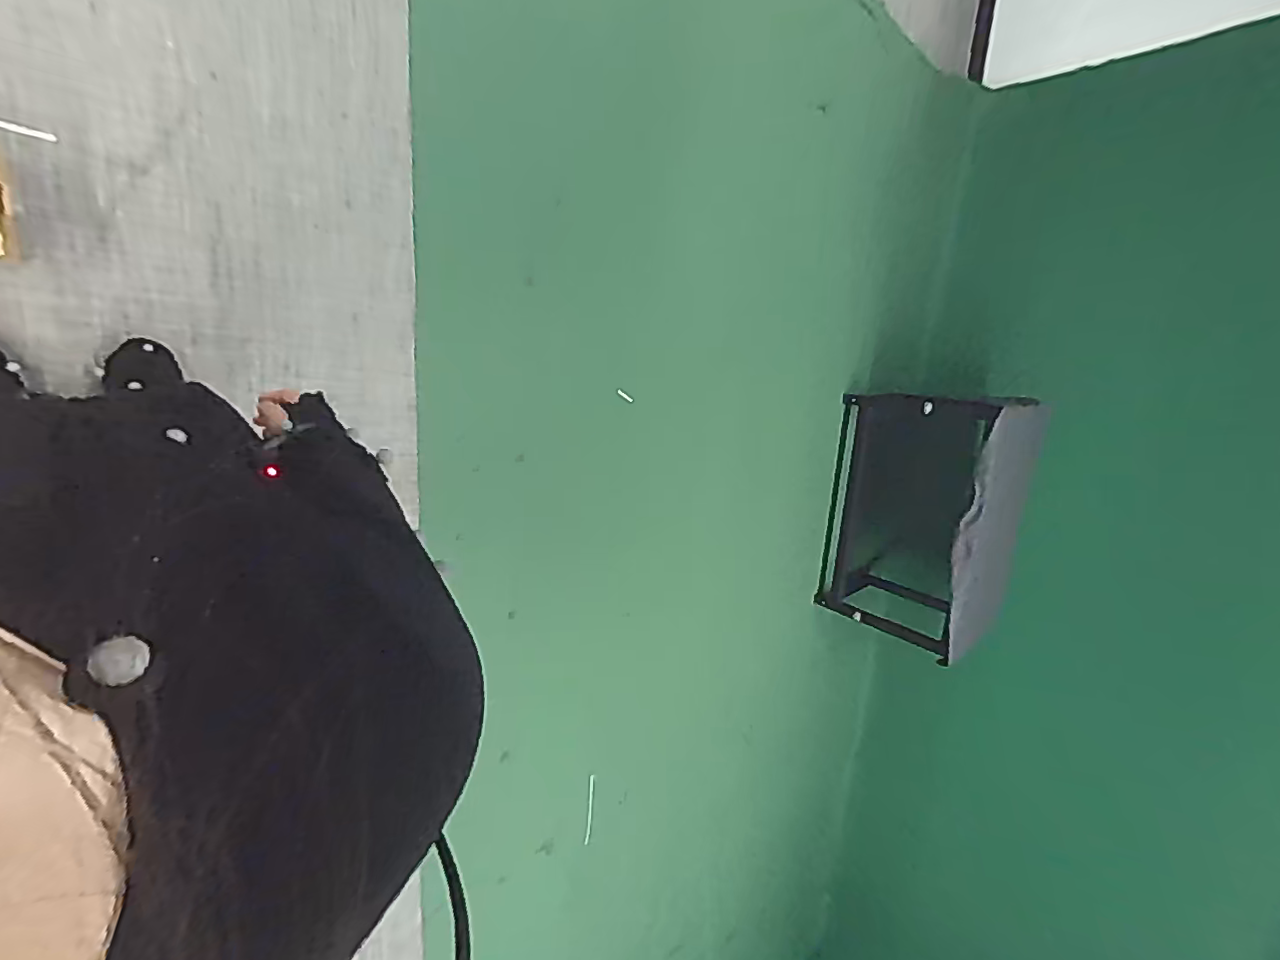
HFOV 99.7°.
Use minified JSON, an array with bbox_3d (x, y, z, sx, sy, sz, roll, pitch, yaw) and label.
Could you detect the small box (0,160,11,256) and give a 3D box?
[{"bbox_3d":[-1.020,-0.414,0.752,0.179,0.176,0.168,-7,108,-43],"label":"small box"}]
